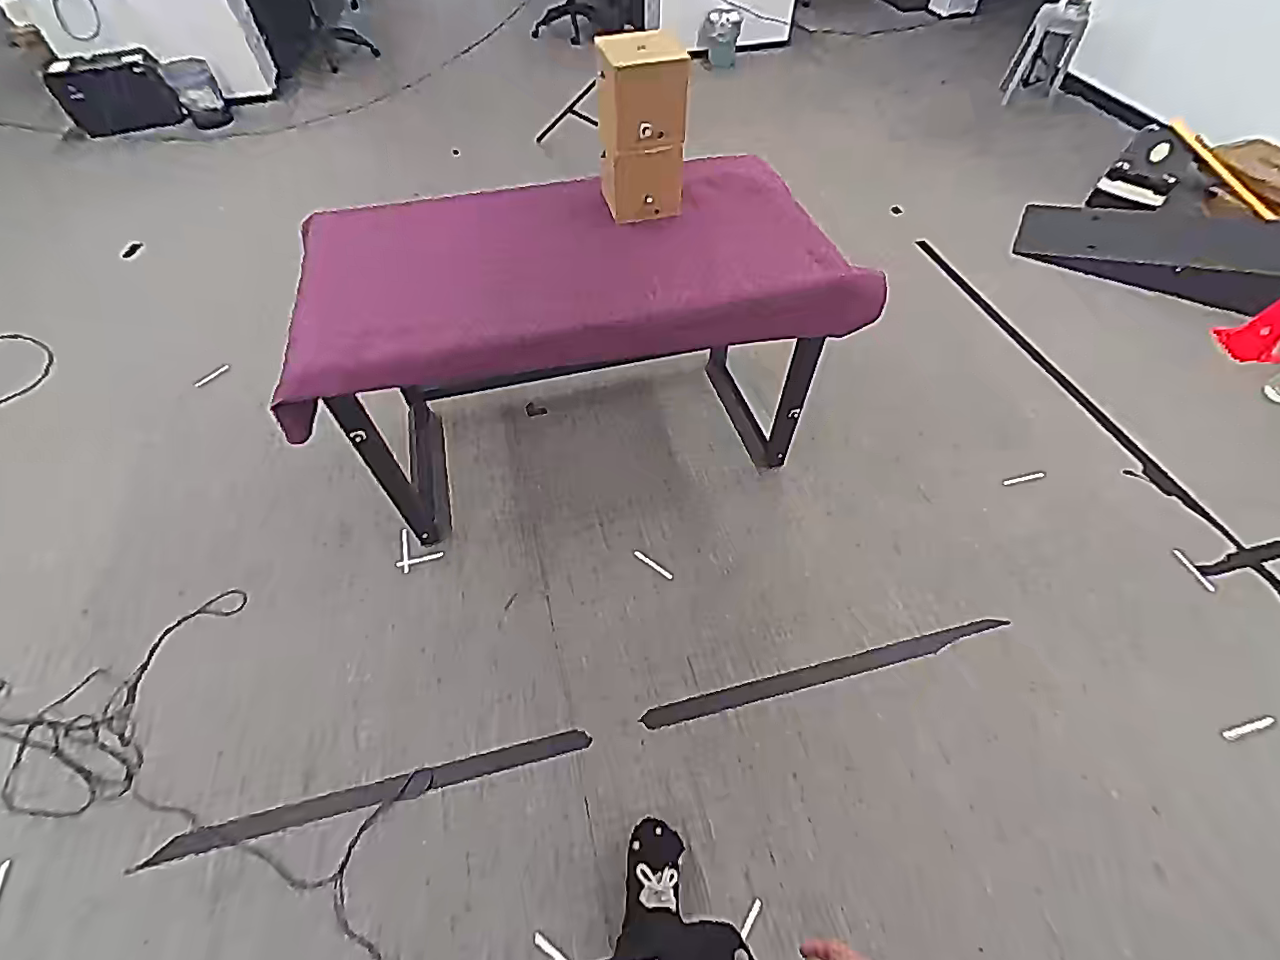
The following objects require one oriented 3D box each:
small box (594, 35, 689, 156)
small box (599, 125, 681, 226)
[{"bbox_3d":[0.000,-0.859,1.211,0.168,0.176,0.179,-15,57,-9],"label":"small box"},{"bbox_3d":[-0.004,-0.761,1.340,0.168,0.176,0.179,-13,57,-8],"label":"small box"}]
